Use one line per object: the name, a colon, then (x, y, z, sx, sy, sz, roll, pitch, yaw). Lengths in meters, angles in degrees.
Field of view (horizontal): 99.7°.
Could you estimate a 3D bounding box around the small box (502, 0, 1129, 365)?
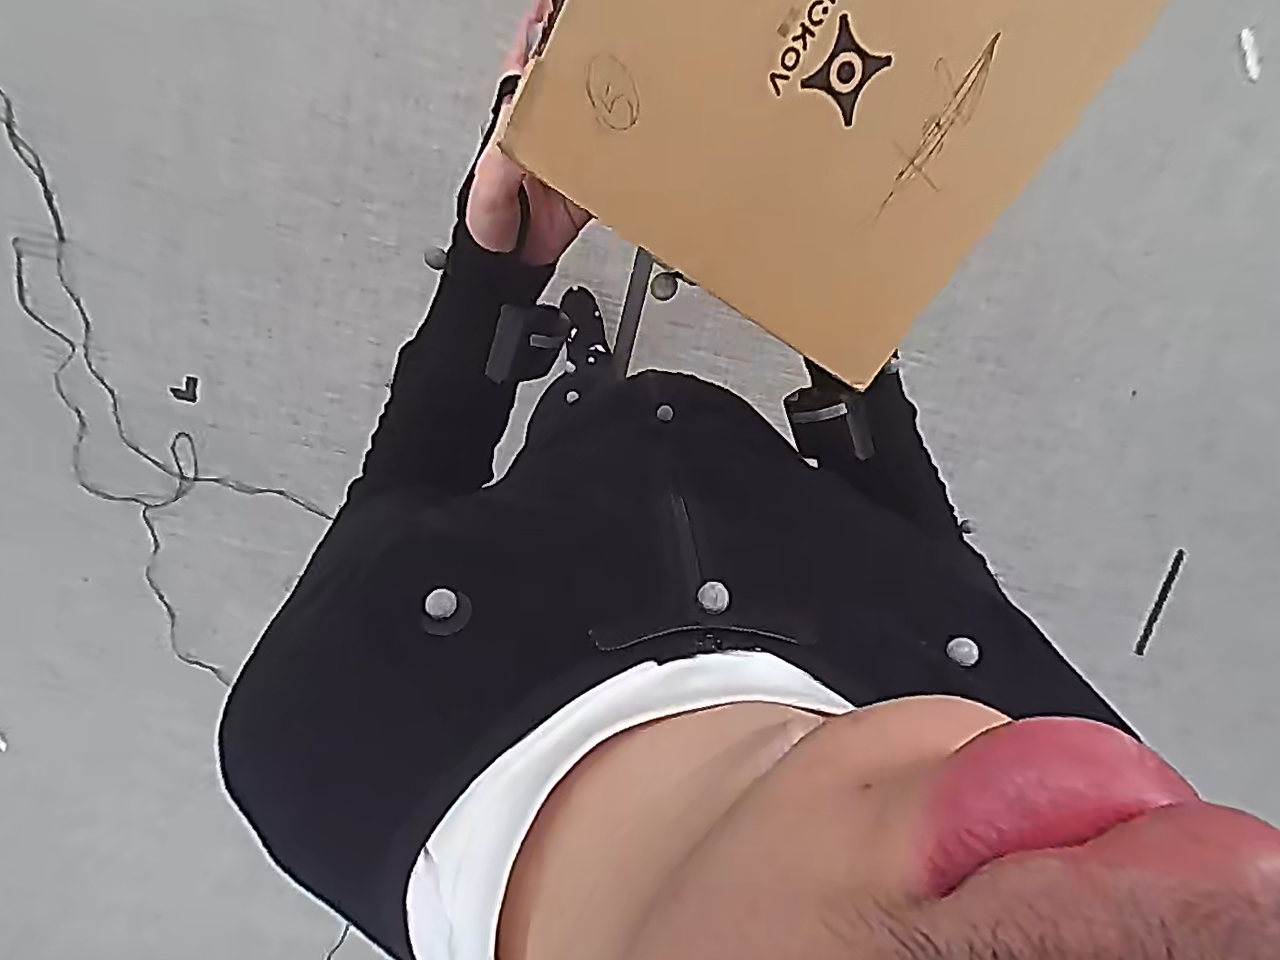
small box: (0.055, -0.186, 0.265, 0.179, 0.176, 0.168, 26, 112, -19)
